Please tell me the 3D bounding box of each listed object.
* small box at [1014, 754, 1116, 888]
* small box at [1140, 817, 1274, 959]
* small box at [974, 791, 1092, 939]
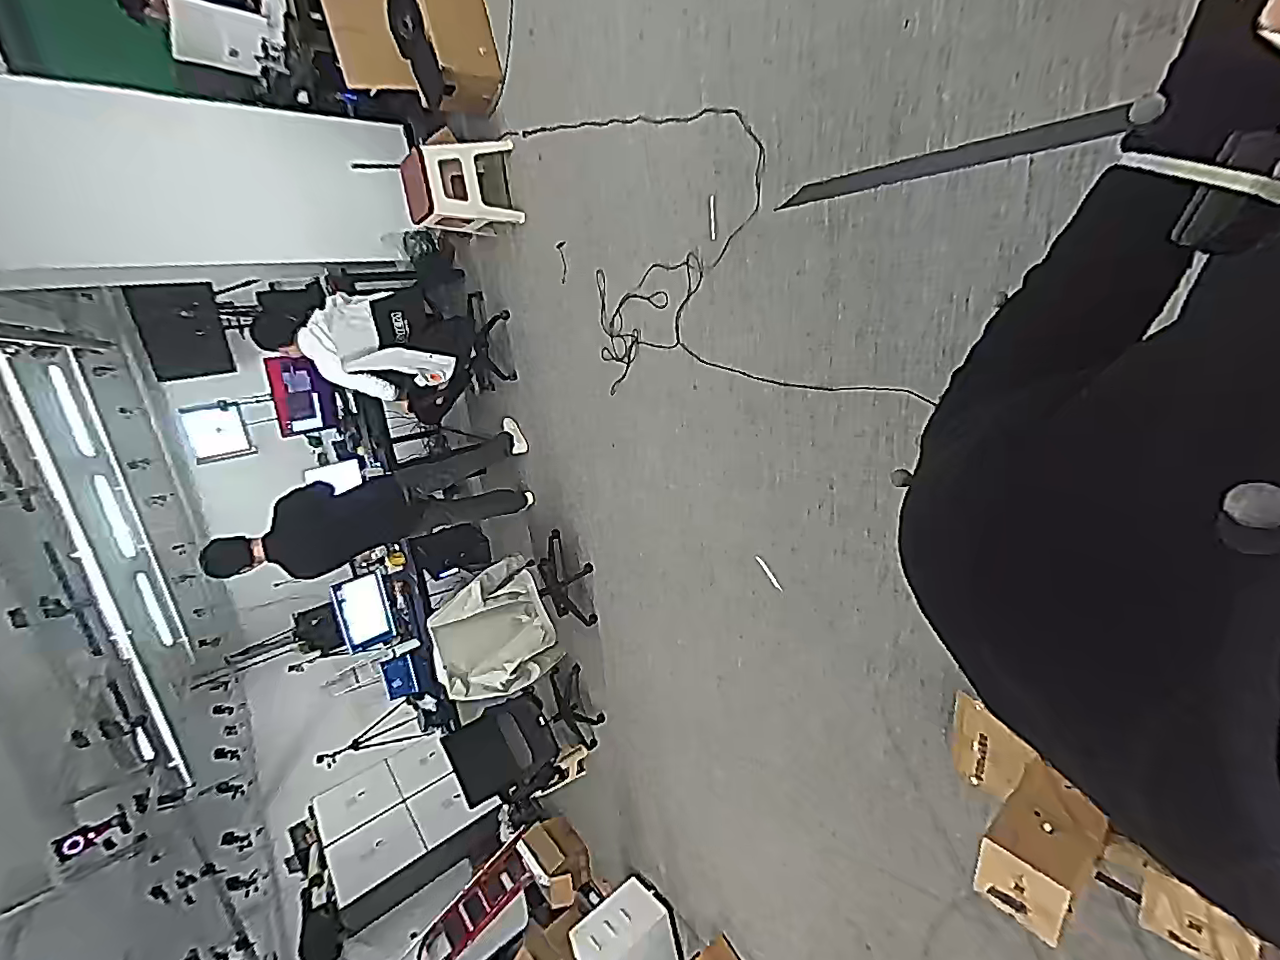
[{"bbox_3d":[1.029,0.822,1.320,0.168,0.176,0.179,15,118,50],"label":"small box"},{"bbox_3d":[1.181,0.859,1.128,0.168,0.176,0.179,13,115,51],"label":"small box"},{"bbox_3d":[0.896,0.867,1.235,0.168,0.176,0.179,20,121,48],"label":"small box"}]
